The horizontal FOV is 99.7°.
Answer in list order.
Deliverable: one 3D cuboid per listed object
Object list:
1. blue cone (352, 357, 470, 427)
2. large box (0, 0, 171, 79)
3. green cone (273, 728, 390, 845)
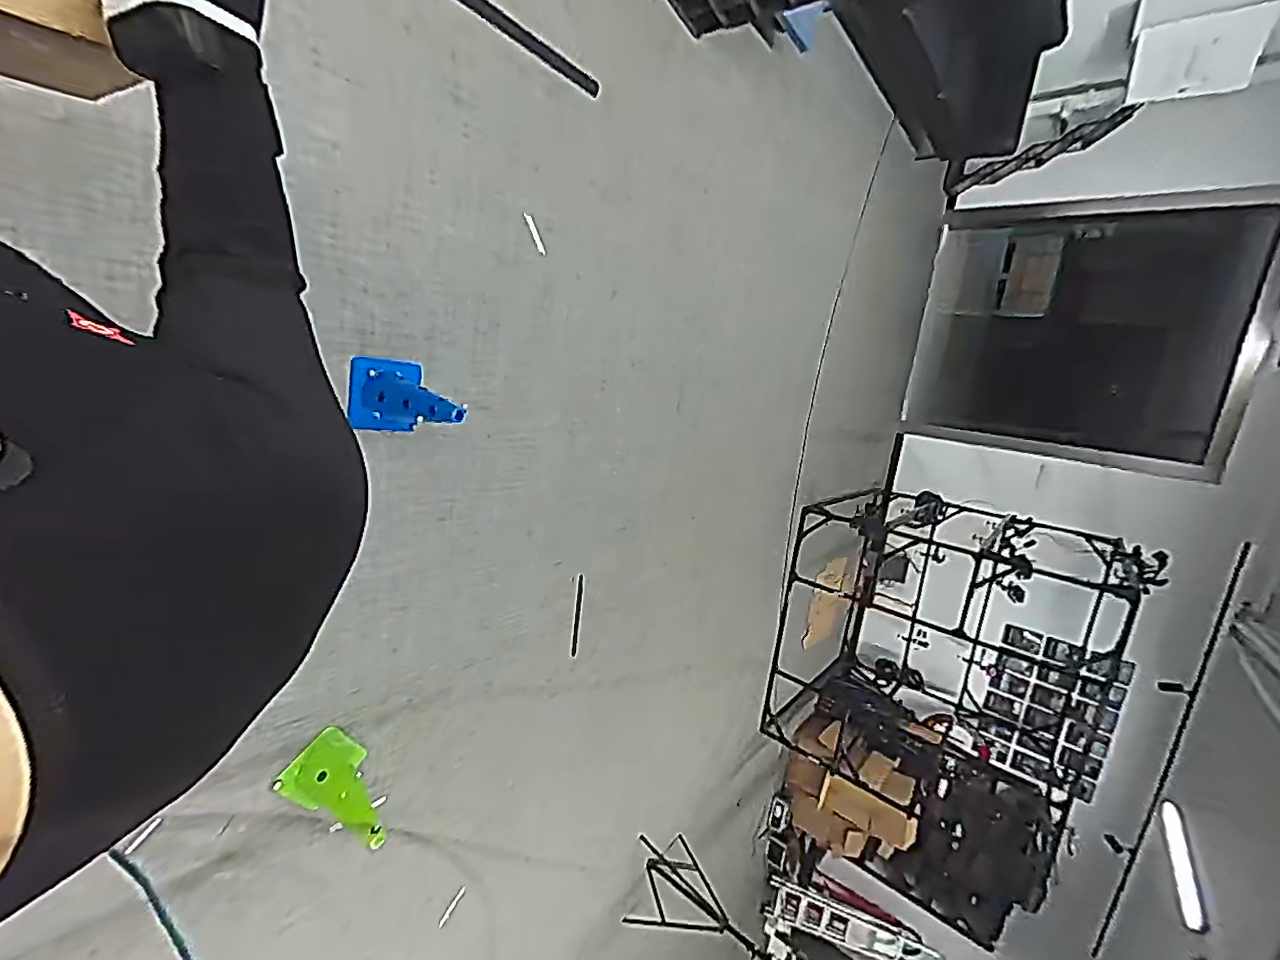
[{"bbox_3d":[-0.581,-0.207,1.422,0.192,0.380,0.193,-2,104,-53],"label":"blue cone"},{"bbox_3d":[-0.549,-0.467,0.268,0.408,0.320,0.320,-14,120,-51],"label":"large box"},{"bbox_3d":[-0.812,0.898,1.507,0.202,0.368,0.200,-50,138,-31],"label":"green cone"}]
